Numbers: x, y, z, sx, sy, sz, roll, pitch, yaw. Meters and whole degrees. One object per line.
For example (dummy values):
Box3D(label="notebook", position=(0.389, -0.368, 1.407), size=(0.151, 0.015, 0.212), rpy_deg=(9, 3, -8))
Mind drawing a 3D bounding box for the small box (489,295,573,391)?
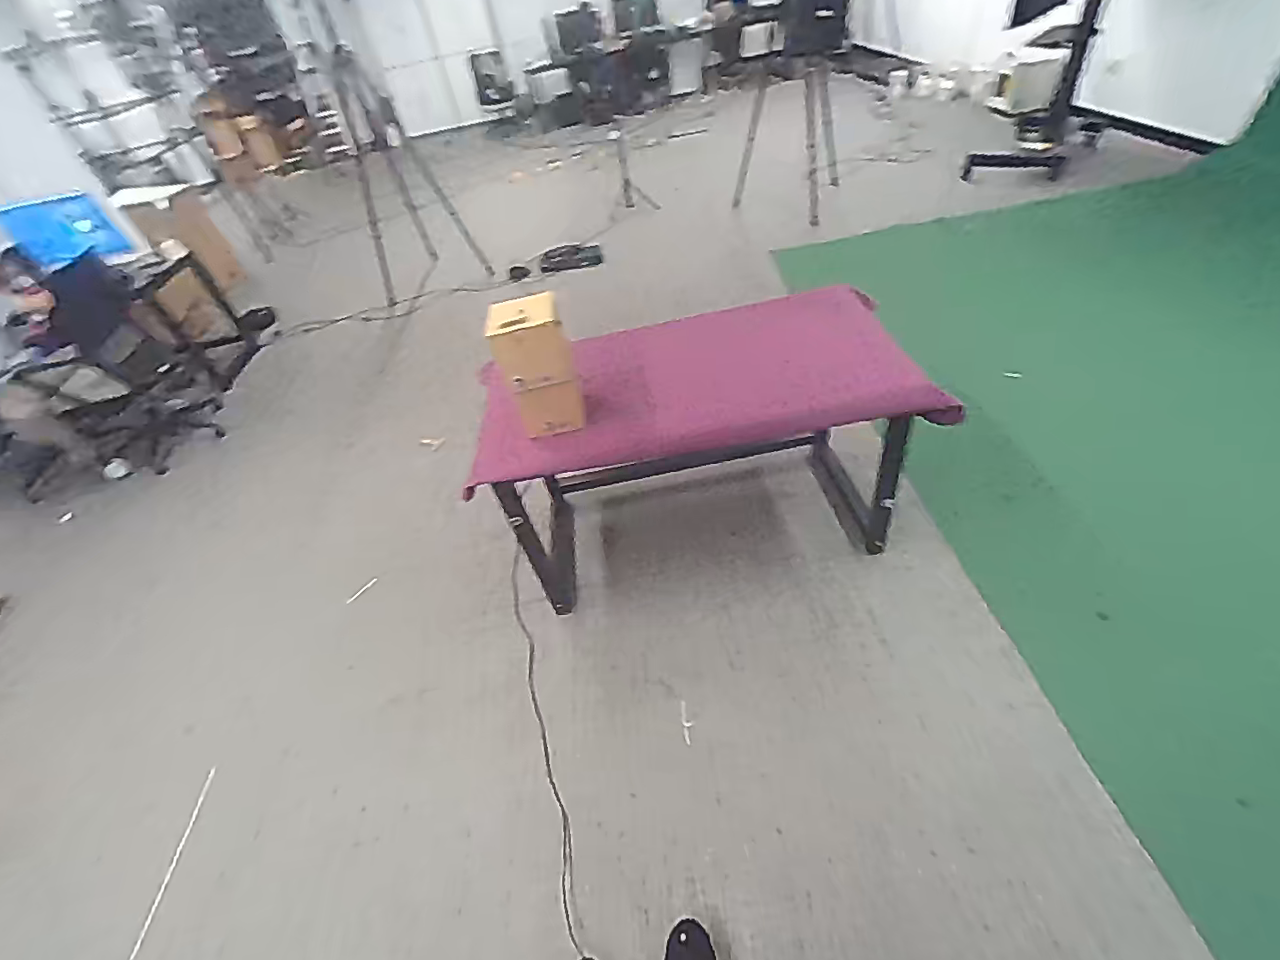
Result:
Box3D(label="small box", position=(-0.271, -0.344, 1.386), size=(0.168, 0.176, 0.179), rpy_deg=(-12, 42, 2))

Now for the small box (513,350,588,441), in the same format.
Box3D(label="small box", position=(-0.243, -0.234, 1.504), size=(0.168, 0.176, 0.179), rpy_deg=(-12, 44, 2))
